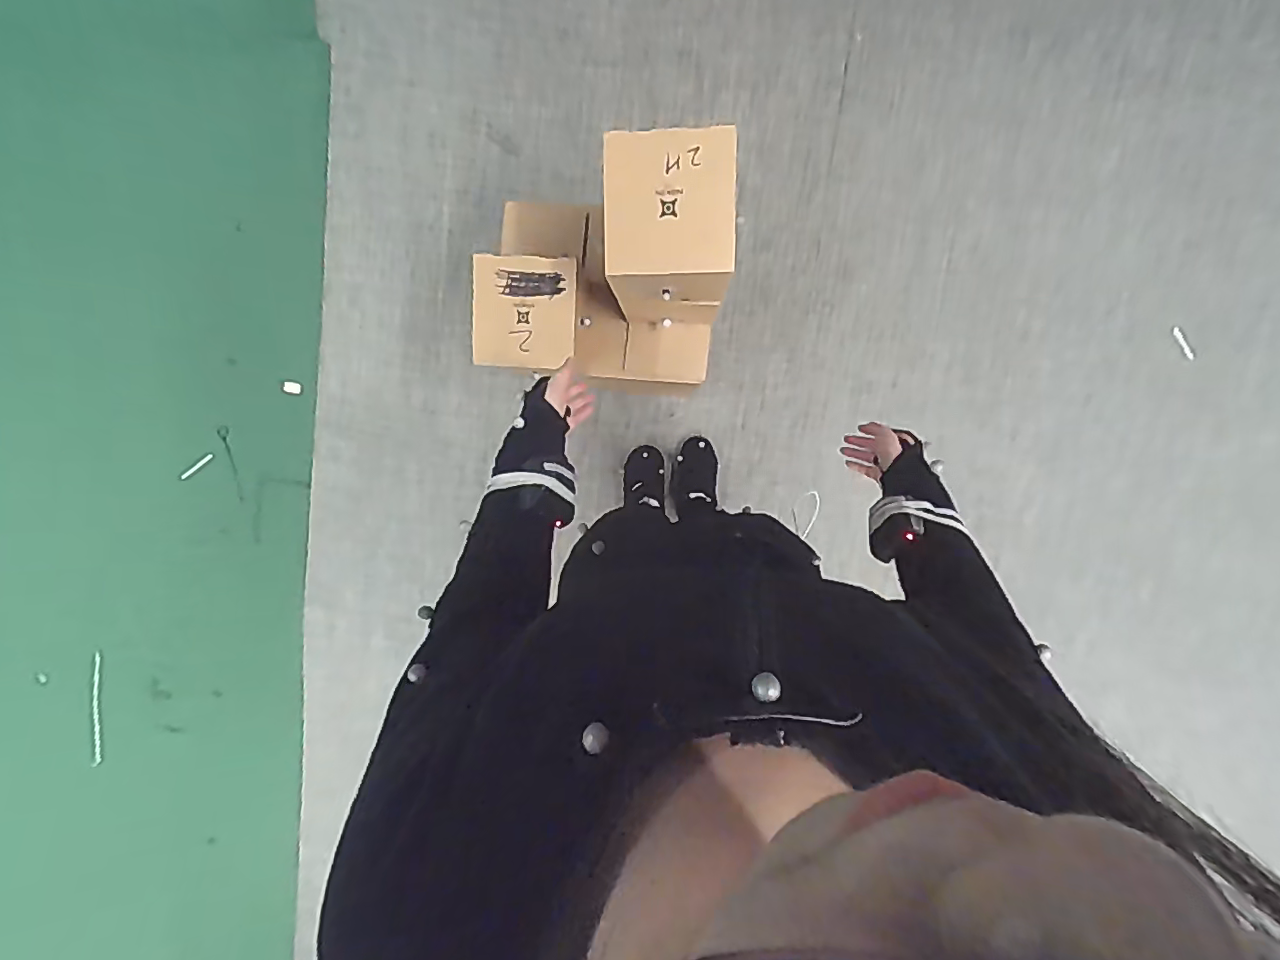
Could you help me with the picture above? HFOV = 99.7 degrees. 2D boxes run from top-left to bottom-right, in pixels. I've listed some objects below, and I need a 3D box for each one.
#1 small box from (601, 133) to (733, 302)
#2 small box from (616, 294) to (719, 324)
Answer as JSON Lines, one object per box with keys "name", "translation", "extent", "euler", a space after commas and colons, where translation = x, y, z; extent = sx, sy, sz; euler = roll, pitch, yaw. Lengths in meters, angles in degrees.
{"name": "small box", "translation": [0.039, -0.353, 0.760], "extent": [0.168, 0.176, 0.179], "euler": [1, 96, 4]}
{"name": "small box", "translation": [0.052, -0.372, 0.923], "extent": [0.168, 0.176, 0.179], "euler": [3, 98, 4]}
